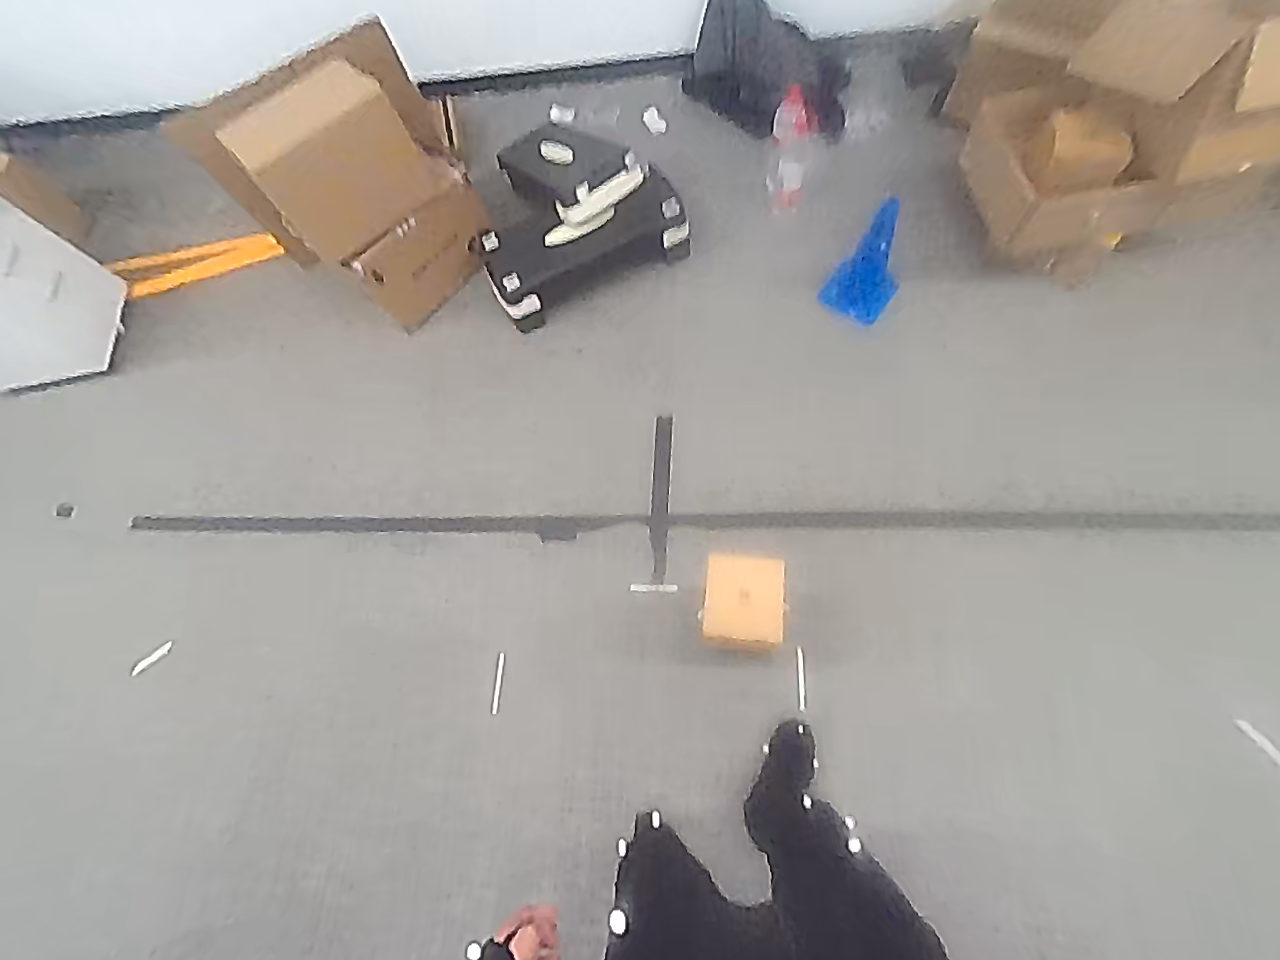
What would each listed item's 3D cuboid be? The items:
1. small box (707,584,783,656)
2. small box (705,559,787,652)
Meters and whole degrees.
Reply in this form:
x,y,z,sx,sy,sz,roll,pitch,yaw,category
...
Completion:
x,y,z,sx,sy,sz,roll,pitch,yaw,category
0.260,0.356,1.372,0.179,0.176,0.168,-1,69,8,small box
0.235,0.288,1.226,0.168,0.176,0.179,4,71,9,small box
